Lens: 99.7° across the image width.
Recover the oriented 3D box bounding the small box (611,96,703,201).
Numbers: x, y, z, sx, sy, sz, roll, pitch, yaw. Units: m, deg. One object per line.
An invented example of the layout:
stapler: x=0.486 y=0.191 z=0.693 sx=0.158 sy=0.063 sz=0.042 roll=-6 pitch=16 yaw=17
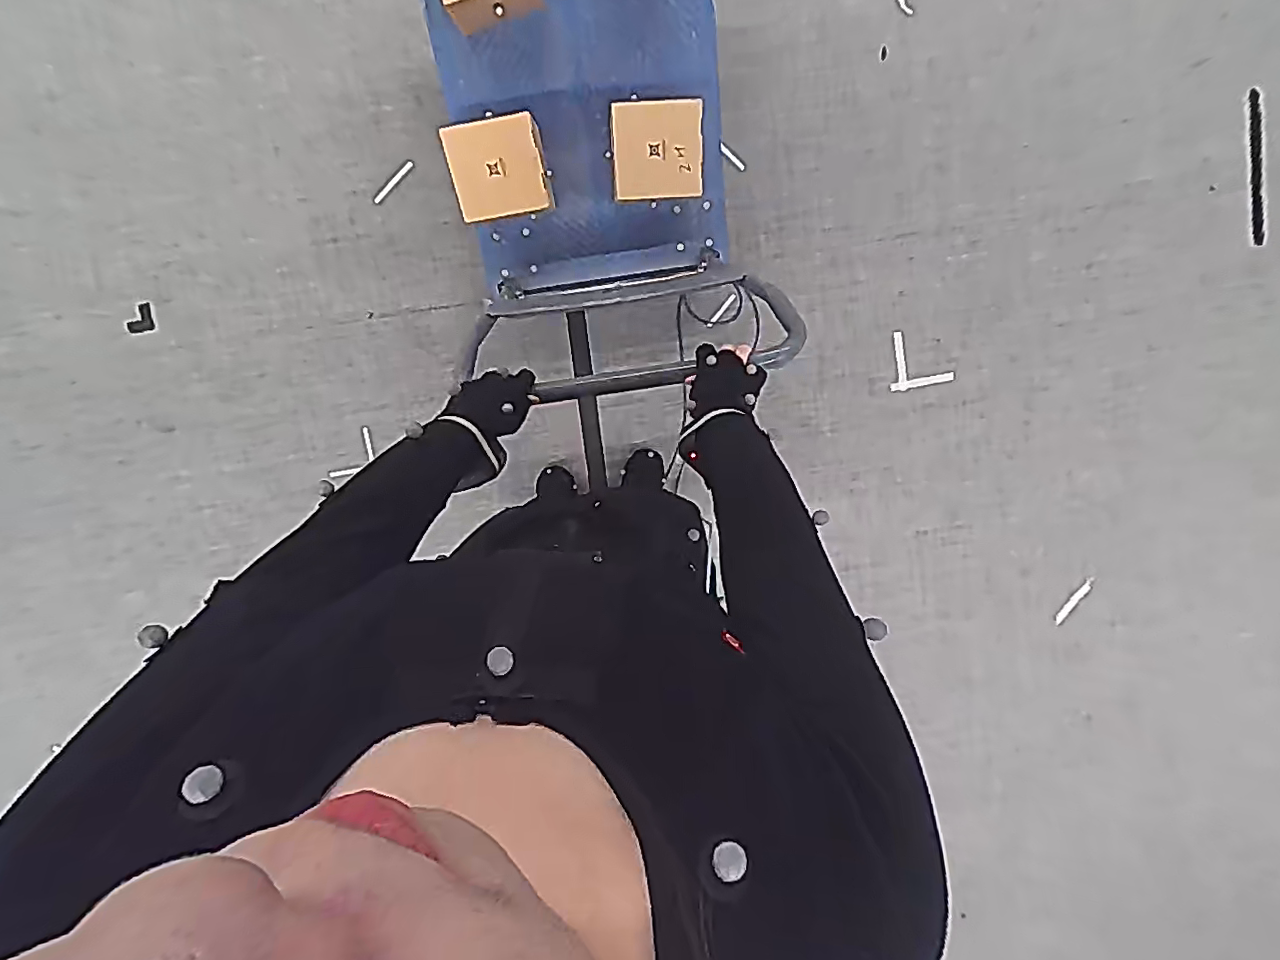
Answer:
small box: x=0.031 y=-0.677 z=1.120 sx=0.179 sy=0.176 sz=0.168 roll=-4 pitch=115 yaw=-3

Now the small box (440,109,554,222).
small box: x=-0.284 y=-0.637 z=1.114 sx=0.179 sy=0.176 sz=0.168 roll=-12 pitch=115 yaw=-1
